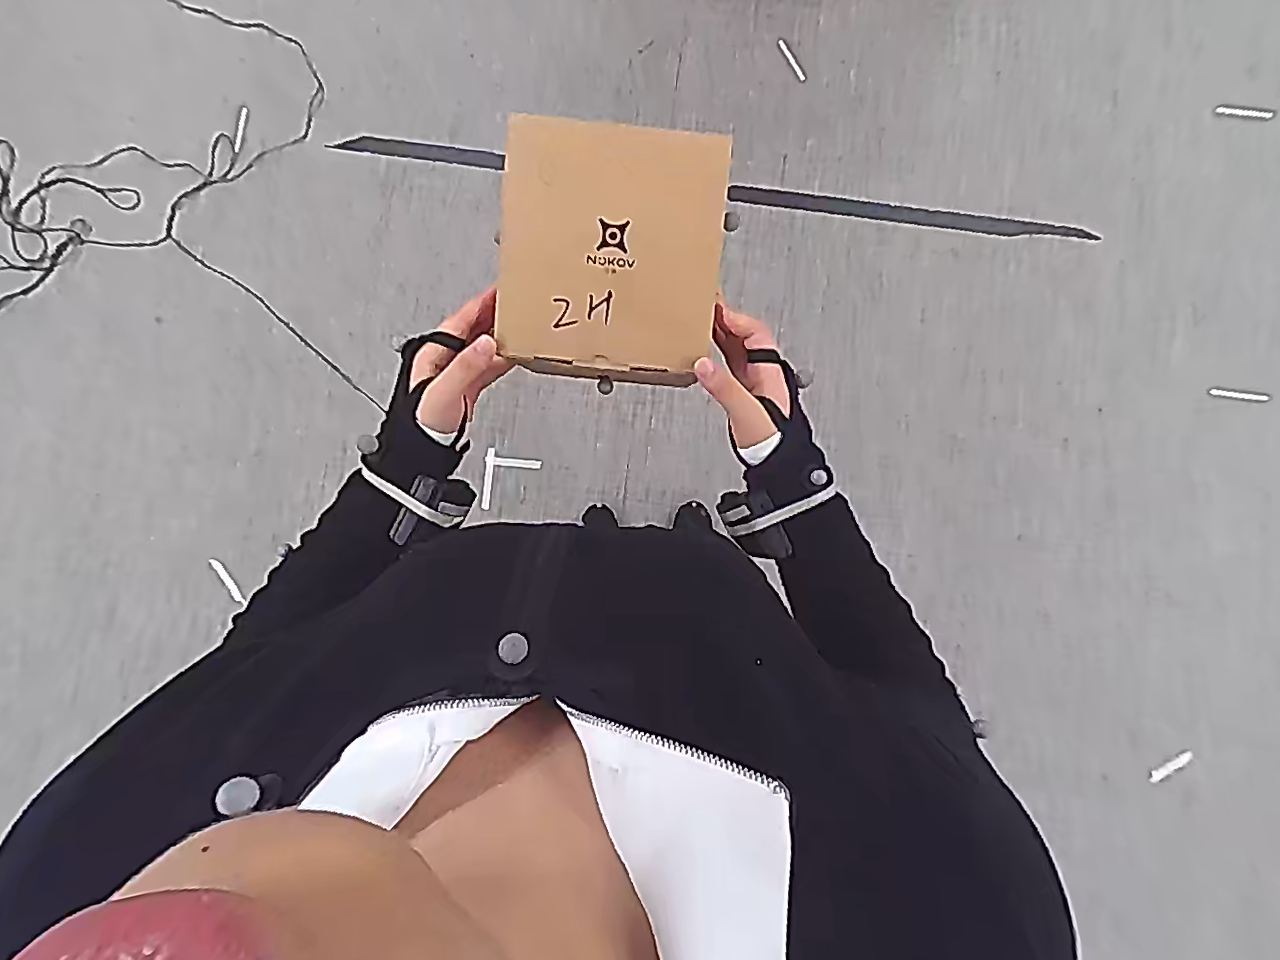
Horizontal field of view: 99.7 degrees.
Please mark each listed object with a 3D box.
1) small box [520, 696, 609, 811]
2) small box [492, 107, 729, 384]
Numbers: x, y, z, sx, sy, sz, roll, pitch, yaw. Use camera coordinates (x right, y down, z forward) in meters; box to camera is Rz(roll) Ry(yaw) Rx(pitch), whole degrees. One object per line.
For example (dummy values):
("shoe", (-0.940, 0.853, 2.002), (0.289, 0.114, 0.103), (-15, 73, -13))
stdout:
("small box", (-0.173, 0.646, 1.295), (0.168, 0.176, 0.179), (11, 87, 2))
("small box", (-0.024, -0.187, 0.483), (0.168, 0.176, 0.179), (6, 96, -1))
